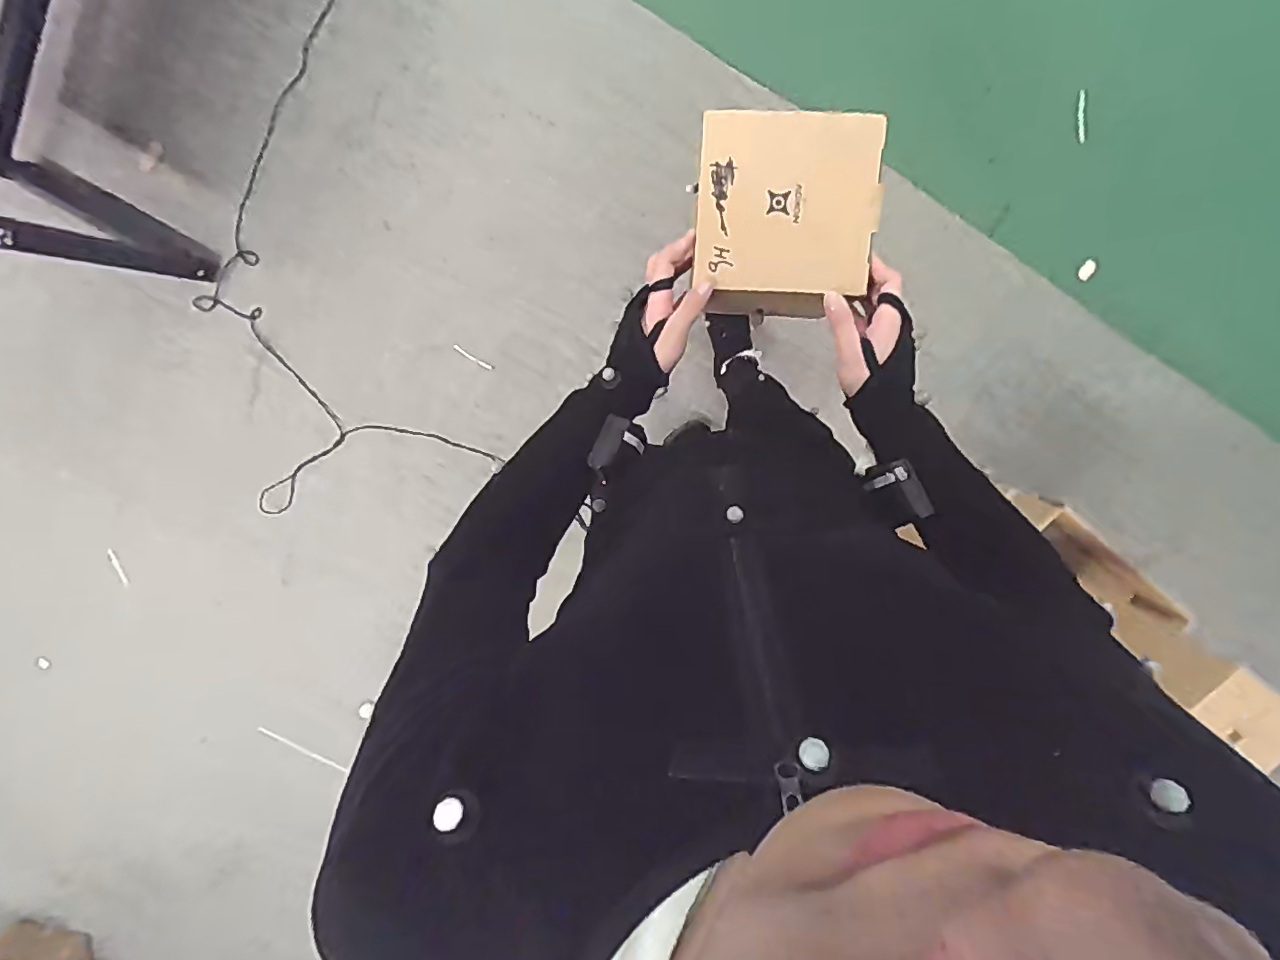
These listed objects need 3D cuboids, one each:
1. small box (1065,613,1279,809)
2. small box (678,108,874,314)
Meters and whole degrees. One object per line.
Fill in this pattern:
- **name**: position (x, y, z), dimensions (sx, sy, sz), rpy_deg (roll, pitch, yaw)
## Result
- **small box**: position (0.810, 0.342, 0.829), dimensions (0.168, 0.176, 0.179), rpy_deg (37, 103, -5)
- **small box**: position (0.137, -0.286, 0.612), dimensions (0.179, 0.176, 0.168), rpy_deg (4, 99, 2)
